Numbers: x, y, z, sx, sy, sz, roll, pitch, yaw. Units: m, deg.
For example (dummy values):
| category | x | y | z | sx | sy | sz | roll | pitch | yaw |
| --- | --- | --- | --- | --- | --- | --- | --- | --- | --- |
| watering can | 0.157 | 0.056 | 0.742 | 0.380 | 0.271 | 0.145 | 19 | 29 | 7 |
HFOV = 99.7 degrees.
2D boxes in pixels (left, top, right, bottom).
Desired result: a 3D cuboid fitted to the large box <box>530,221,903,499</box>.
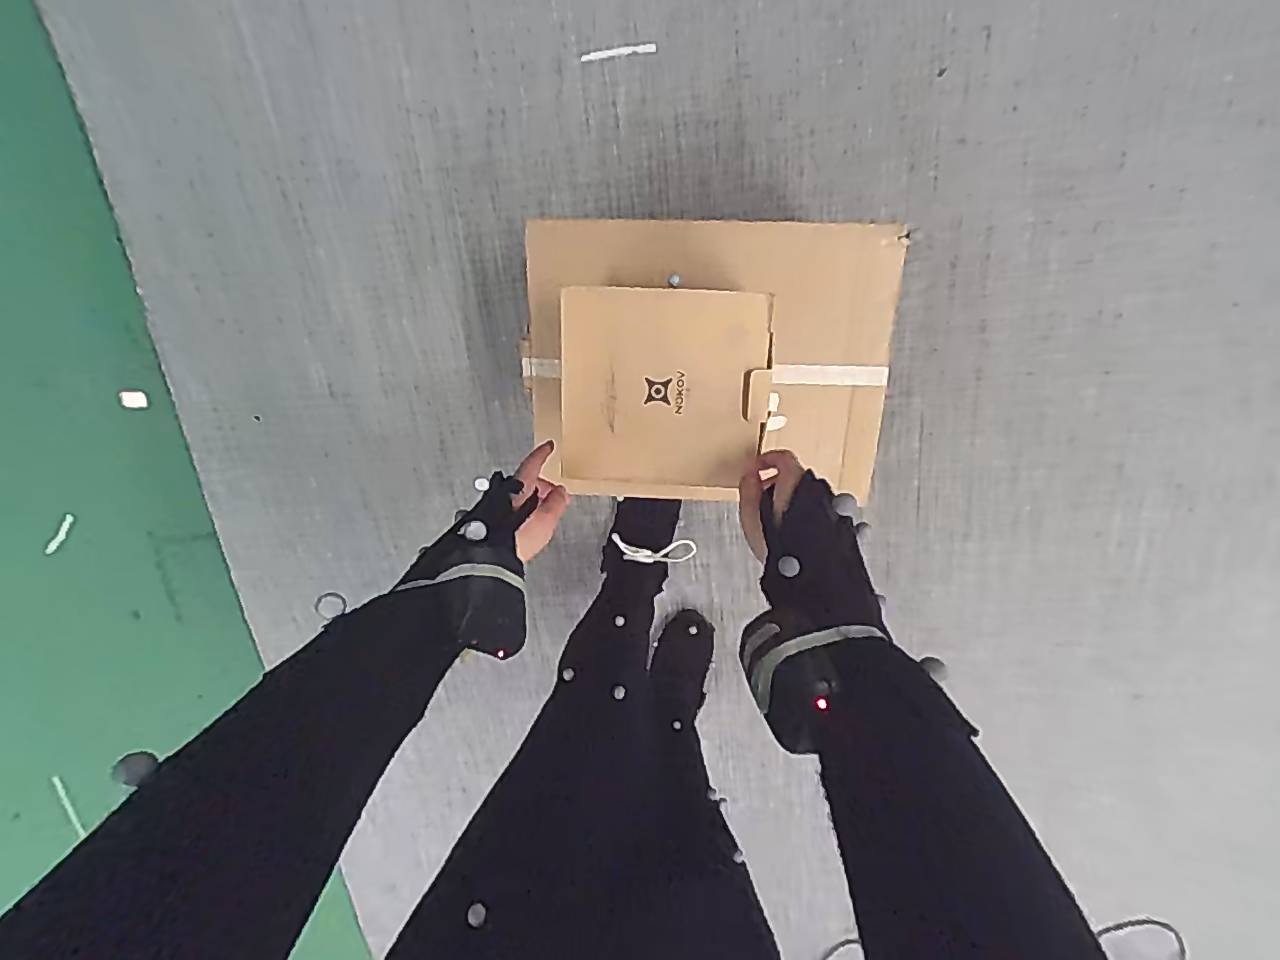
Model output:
| category | x | y | z | sx | sy | sz | roll | pitch | yaw |
| --- | --- | --- | --- | --- | --- | --- | --- | --- | --- |
| large box | 0.084 | -0.168 | 0.759 | 0.408 | 0.320 | 0.320 | 2 | 108 | 2 |

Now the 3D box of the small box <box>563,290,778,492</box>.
| category | x | y | z | sx | sy | sz | roll | pitch | yaw |
| --- | --- | --- | --- | --- | --- | --- | --- | --- | --- |
| small box | 0.026 | -0.093 | 0.531 | 0.179 | 0.176 | 0.168 | 3 | 105 | 4 |
